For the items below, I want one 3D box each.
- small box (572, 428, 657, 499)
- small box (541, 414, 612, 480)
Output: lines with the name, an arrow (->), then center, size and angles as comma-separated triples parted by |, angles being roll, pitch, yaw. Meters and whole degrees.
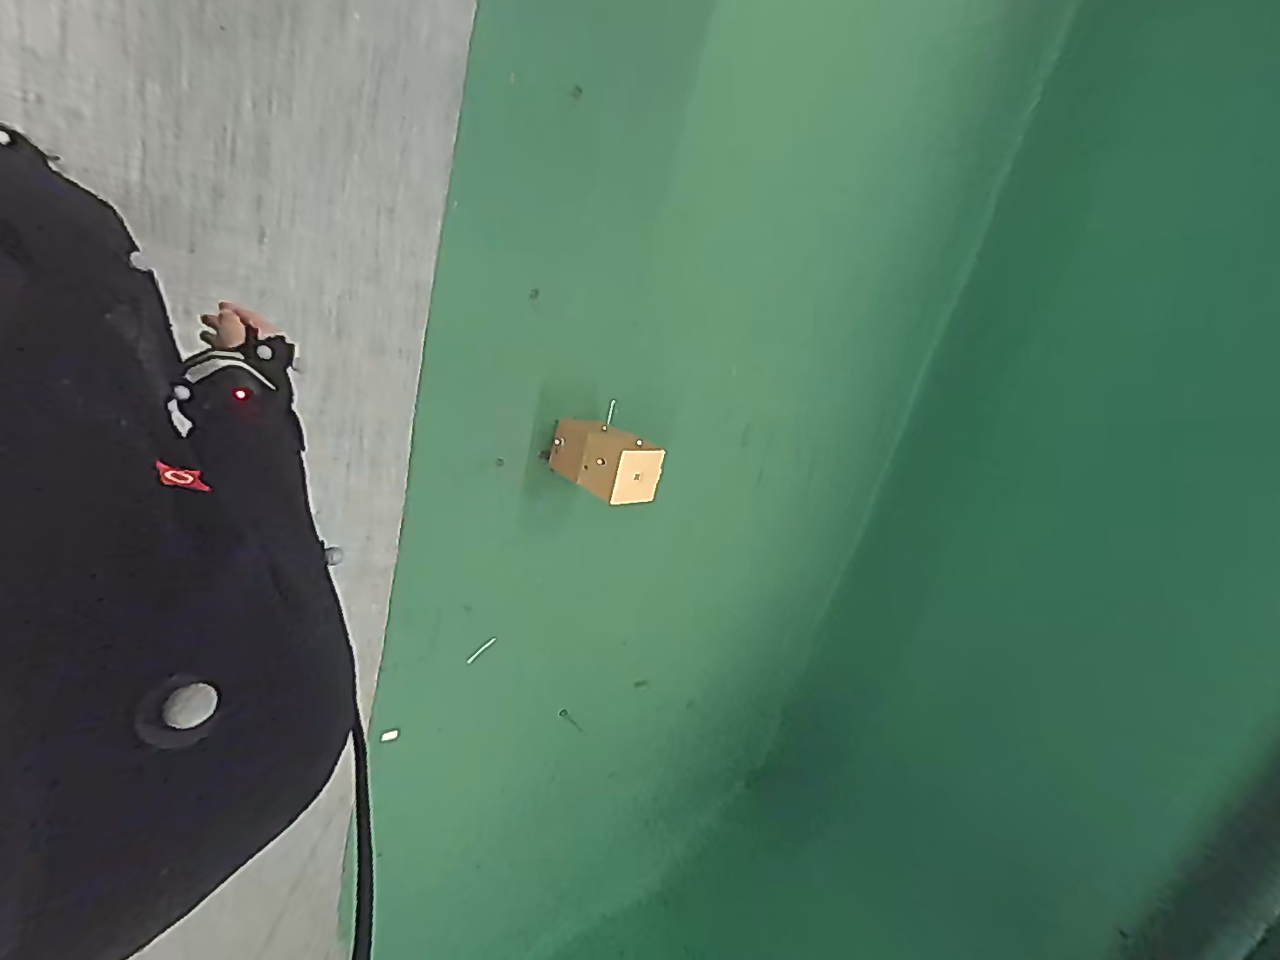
small box -> -0.082, -0.053, 1.622 | 0.179, 0.176, 0.168 | -4, 115, -45
small box -> -0.189, -0.106, 1.733 | 0.179, 0.176, 0.168 | -2, 113, -44
